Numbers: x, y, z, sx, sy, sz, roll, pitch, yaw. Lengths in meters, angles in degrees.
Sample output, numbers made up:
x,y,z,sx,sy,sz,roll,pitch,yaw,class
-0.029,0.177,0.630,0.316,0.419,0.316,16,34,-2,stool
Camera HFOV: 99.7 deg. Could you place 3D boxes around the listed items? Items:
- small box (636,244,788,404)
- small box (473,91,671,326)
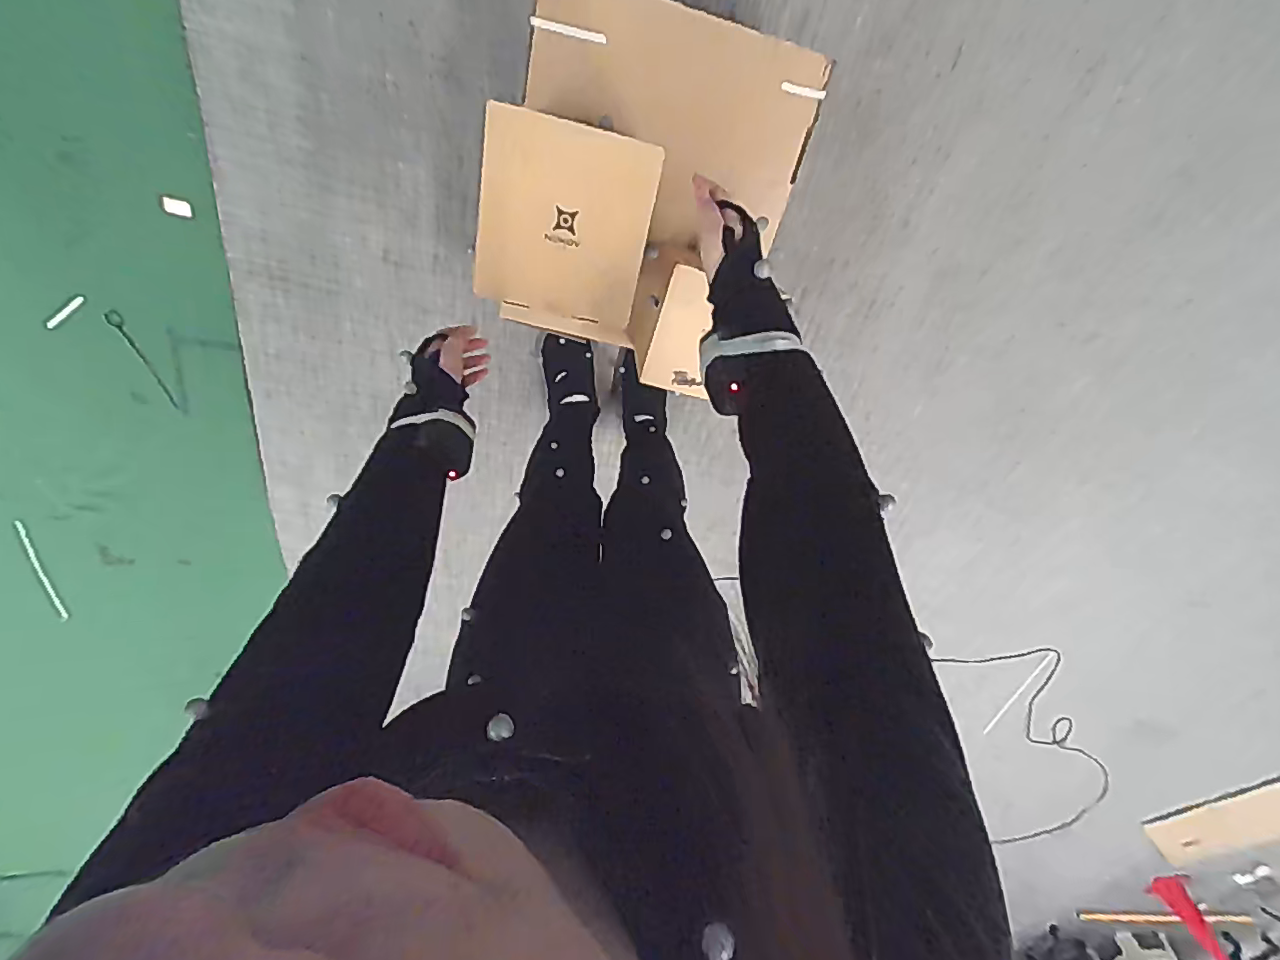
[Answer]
x,y,z,sx,sy,sz,roll,pitch,yaw,class
0.094,-0.243,0.823,0.168,0.176,0.179,13,119,-11,small box
-0.076,-0.296,0.592,0.168,0.176,0.179,11,123,-10,small box
